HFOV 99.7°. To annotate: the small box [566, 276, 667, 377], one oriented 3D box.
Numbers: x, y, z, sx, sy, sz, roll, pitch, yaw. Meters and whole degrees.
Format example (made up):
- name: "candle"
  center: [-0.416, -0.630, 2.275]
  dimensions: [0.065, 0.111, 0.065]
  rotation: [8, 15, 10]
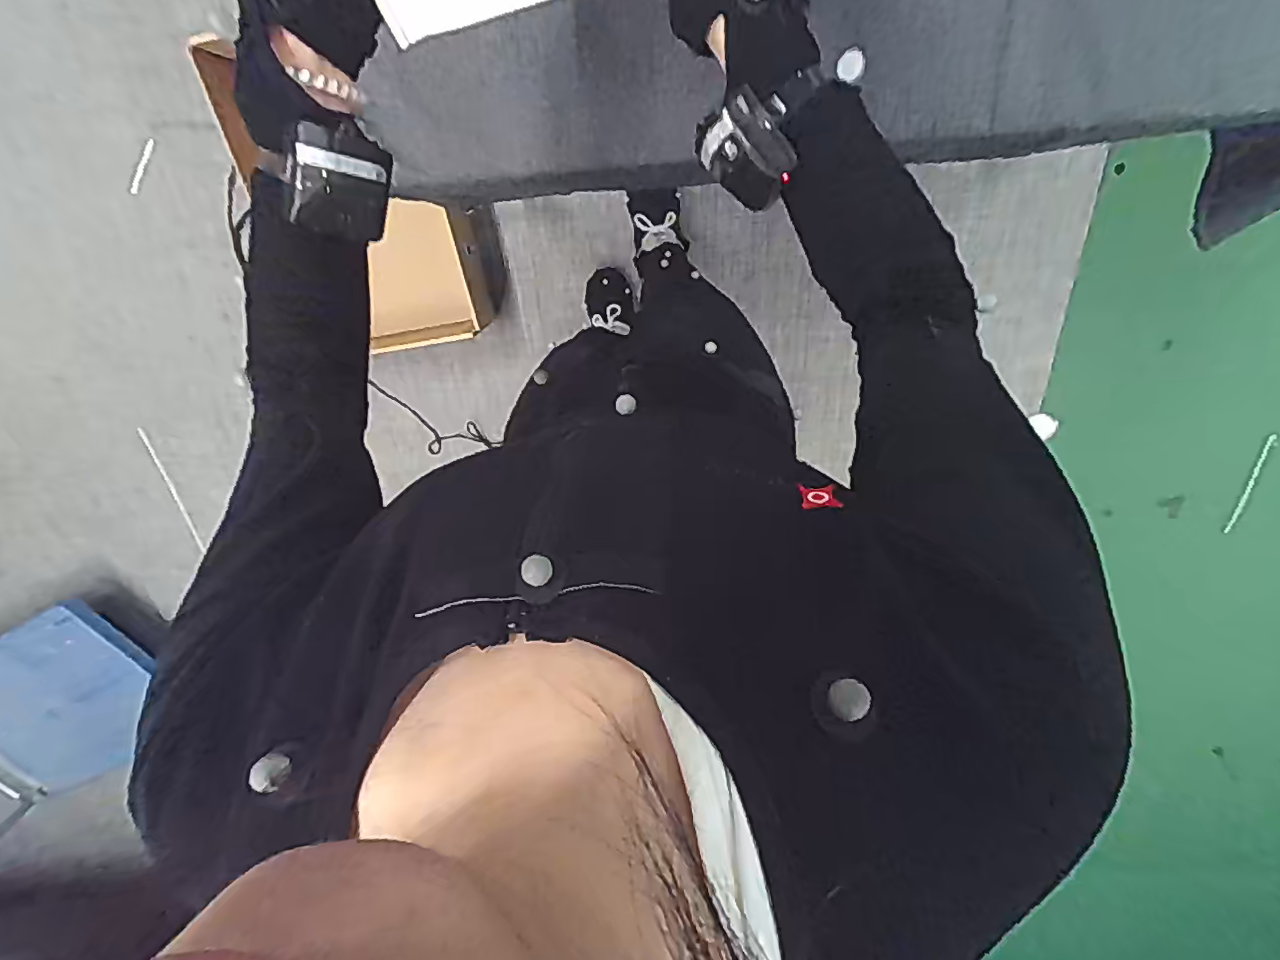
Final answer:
- name: "small box"
  center: [-0.062, -0.380, 1.332]
  dimensions: [0.179, 0.176, 0.168]
  rotation: [33, 123, 5]
